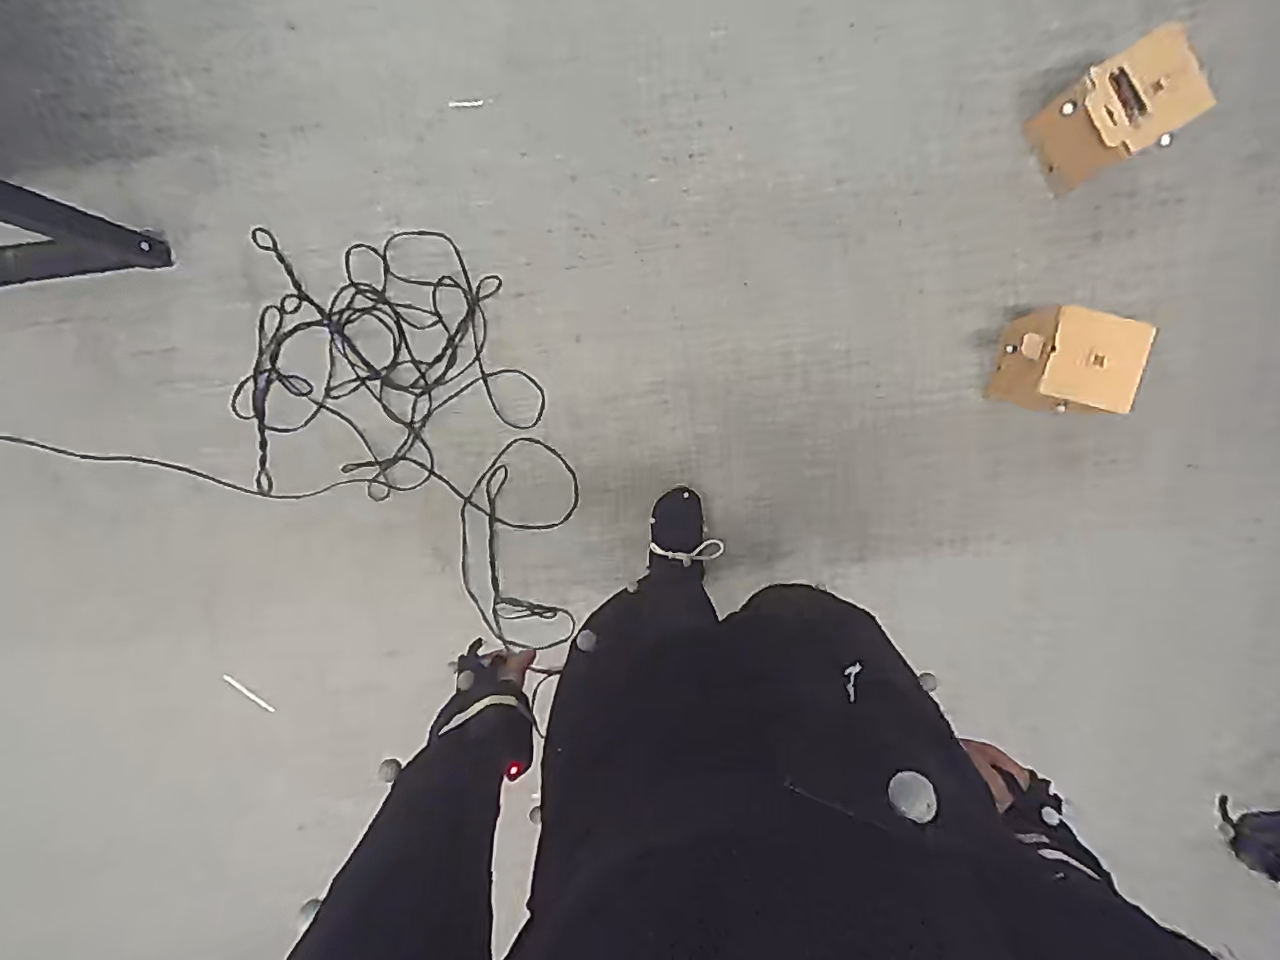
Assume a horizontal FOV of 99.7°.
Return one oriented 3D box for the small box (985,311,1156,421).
[{"bbox_3d":[0.835,-0.218,1.067,0.179,0.176,0.168,14,96,0],"label":"small box"}]
